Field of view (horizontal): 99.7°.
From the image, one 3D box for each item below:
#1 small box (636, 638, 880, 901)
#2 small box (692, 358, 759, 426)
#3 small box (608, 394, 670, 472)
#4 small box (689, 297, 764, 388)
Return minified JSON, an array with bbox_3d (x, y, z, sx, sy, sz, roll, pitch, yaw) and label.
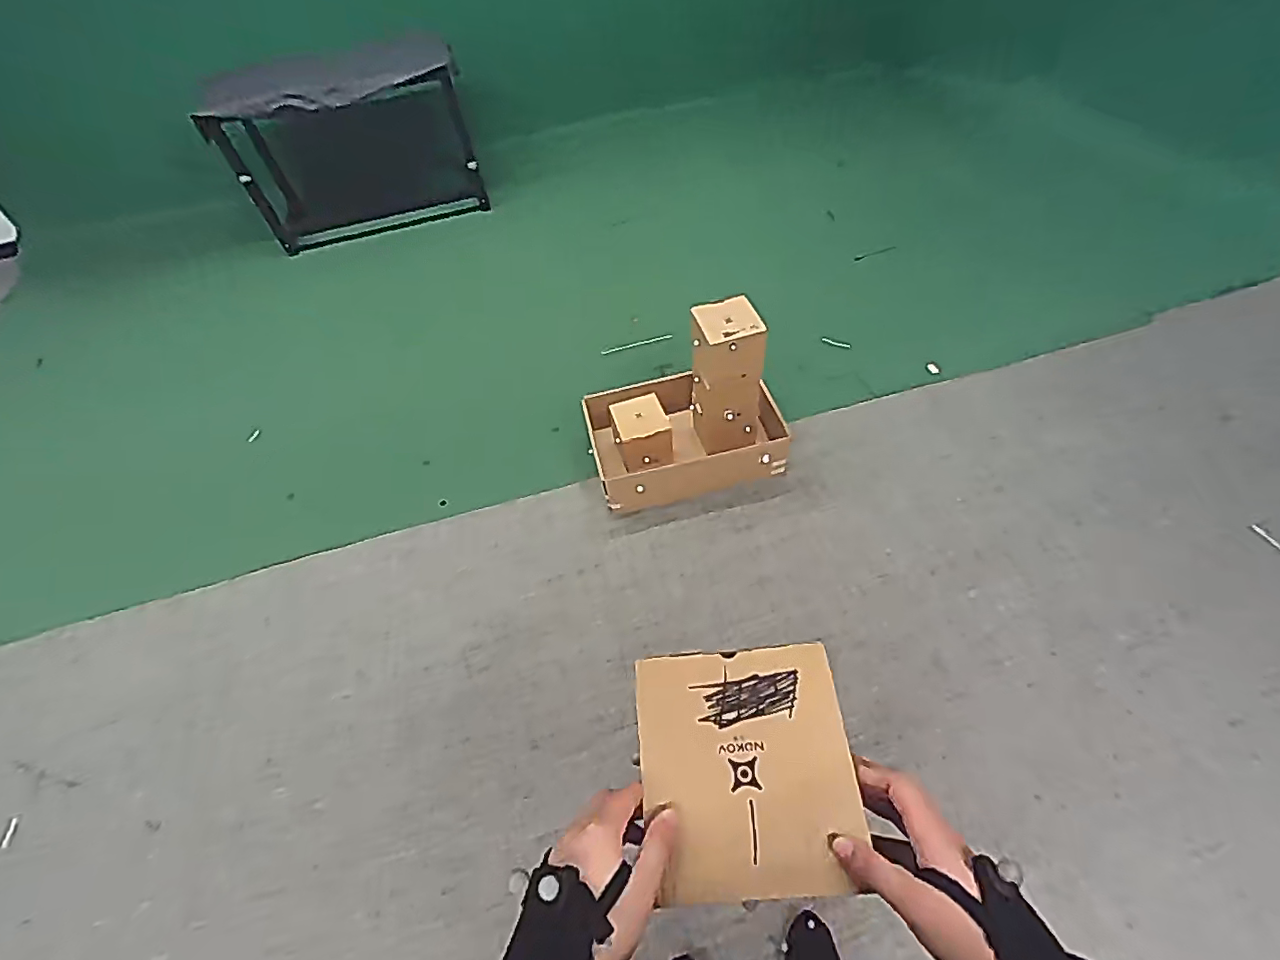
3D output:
[{"bbox_3d":[0.088,0.257,0.486,0.168,0.176,0.179,-7,58,4],"label":"small box"},{"bbox_3d":[0.261,-0.297,1.697,0.168,0.176,0.179,-13,54,-2],"label":"small box"},{"bbox_3d":[-0.003,-0.155,1.824,0.168,0.176,0.179,-17,53,-8],"label":"small box"},{"bbox_3d":[0.246,-0.396,1.566,0.168,0.176,0.179,-15,52,-4],"label":"small box"}]
